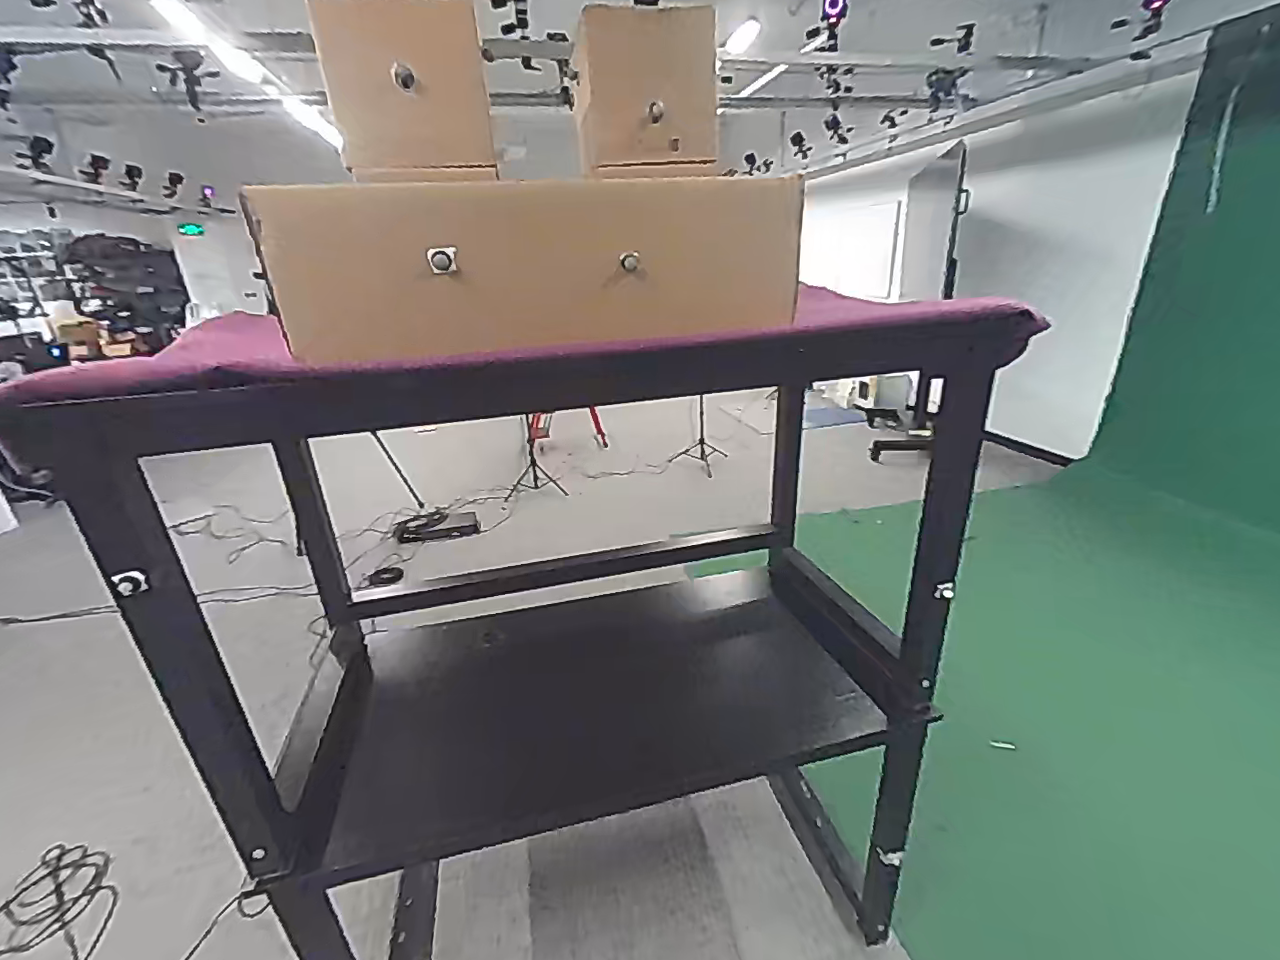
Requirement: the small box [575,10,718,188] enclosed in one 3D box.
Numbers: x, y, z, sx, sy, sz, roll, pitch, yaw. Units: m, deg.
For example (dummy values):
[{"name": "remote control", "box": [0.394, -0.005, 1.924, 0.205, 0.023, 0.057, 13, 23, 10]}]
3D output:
[{"name": "small box", "box": [0.004, -0.515, 0.755, 0.168, 0.176, 0.179, -9, 22, -9]}]
